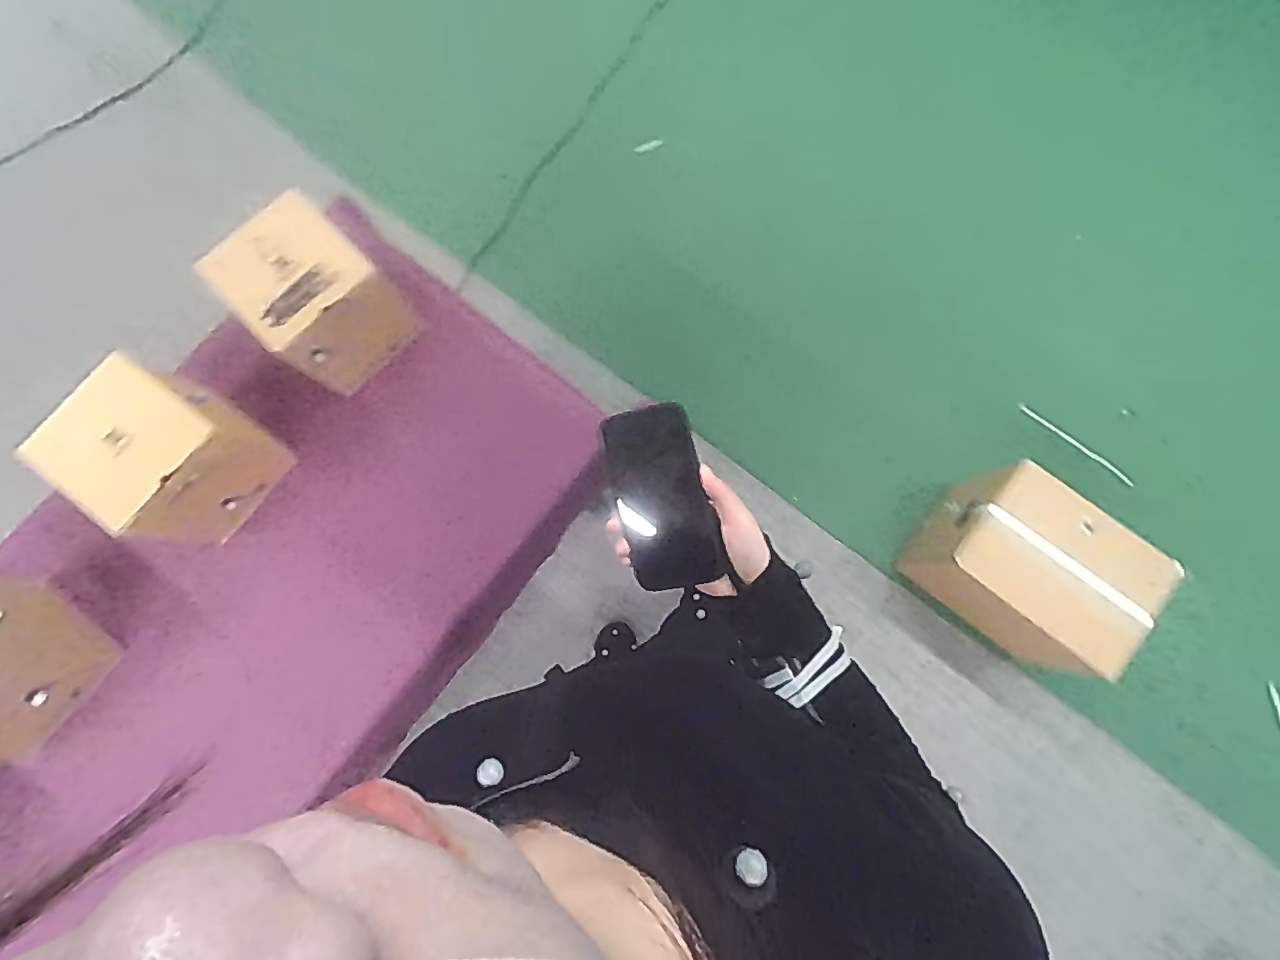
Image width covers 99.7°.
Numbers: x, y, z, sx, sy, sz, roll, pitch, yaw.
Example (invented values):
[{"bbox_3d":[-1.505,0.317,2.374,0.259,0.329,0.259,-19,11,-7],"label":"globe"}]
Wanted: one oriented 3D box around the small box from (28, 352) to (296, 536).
[{"bbox_3d":[-0.632,-0.035,0.740,0.179,0.176,0.168,36,82,6],"label":"small box"}]
